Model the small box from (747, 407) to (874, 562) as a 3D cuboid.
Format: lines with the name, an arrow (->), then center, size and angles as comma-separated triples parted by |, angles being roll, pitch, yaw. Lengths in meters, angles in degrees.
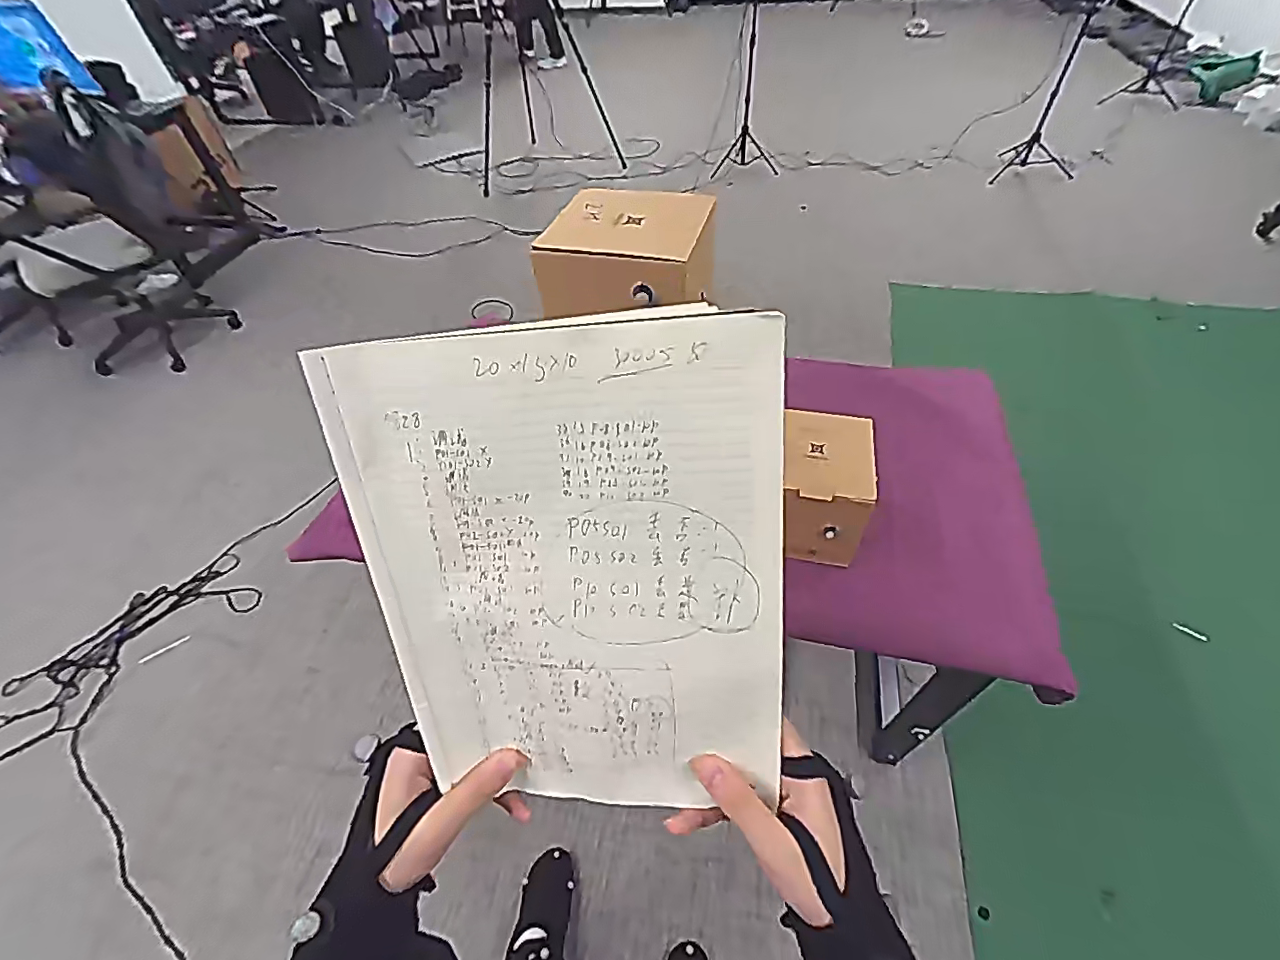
small box -> 0.269, 0.009, 0.871 | 0.168, 0.176, 0.179 | 9, 49, 11

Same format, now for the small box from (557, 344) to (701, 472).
small box -> -0.004, -0.133, 0.795 | 0.168, 0.176, 0.179 | 9, 49, 12

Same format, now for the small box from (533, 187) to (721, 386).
small box -> -0.006, -0.236, 0.666 | 0.179, 0.176, 0.168 | 10, 49, 13
